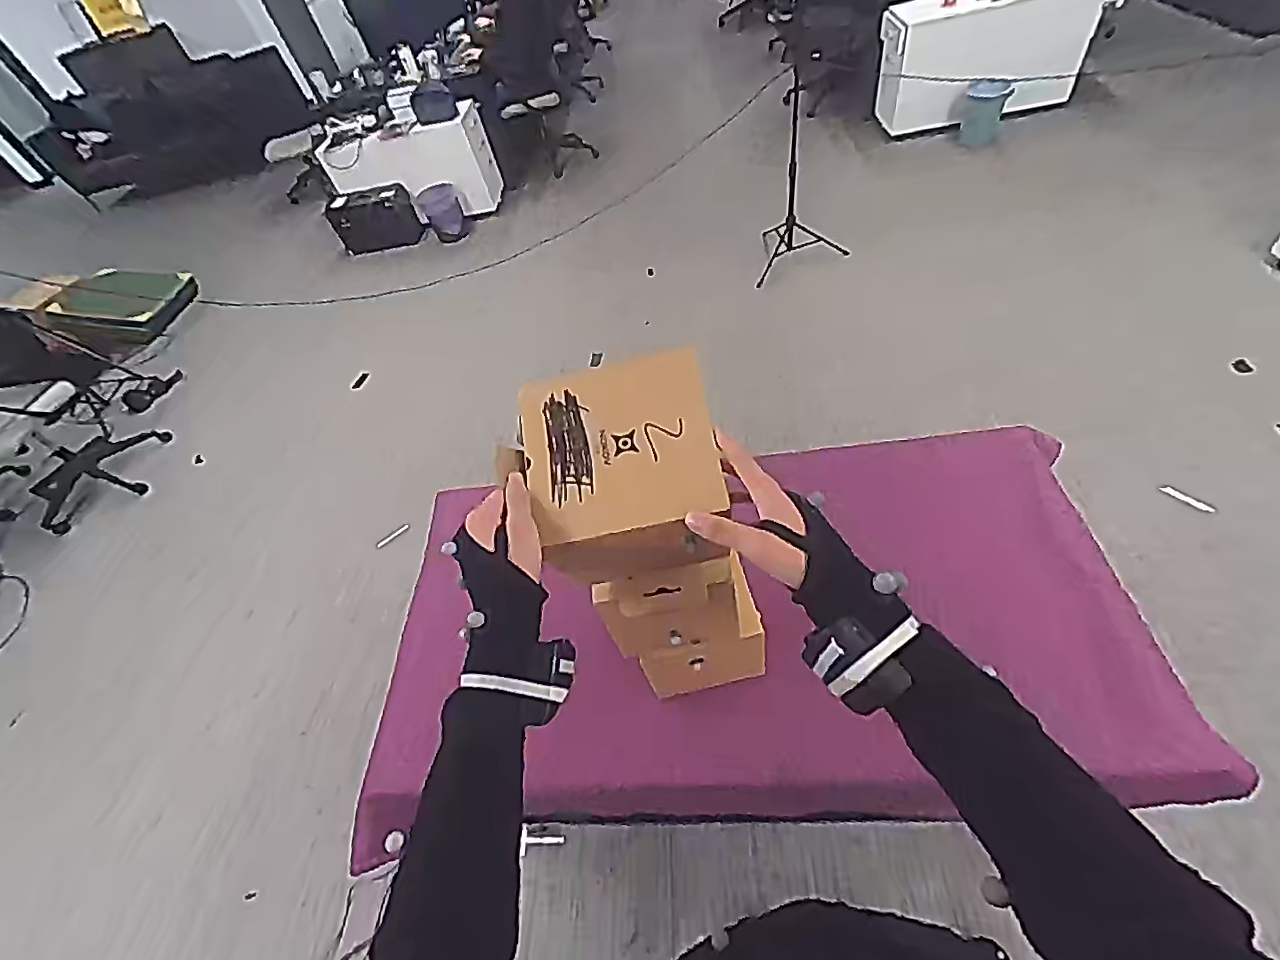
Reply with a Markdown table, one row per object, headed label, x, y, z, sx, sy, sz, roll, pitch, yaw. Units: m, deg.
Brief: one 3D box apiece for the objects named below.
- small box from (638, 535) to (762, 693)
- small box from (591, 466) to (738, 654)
| label | x | y | z | sx | sy | sz | roll | pitch | yaw |
| --- | --- | --- | --- | --- | --- | --- | --- | --- | --- |
| small box | 0.085 | 0.214 | 0.844 | 0.179 | 0.176 | 0.168 | -14 | 51 | 1 |
| small box | 0.033 | 0.111 | 0.724 | 0.168 | 0.176 | 0.179 | -11 | 51 | 6 |
